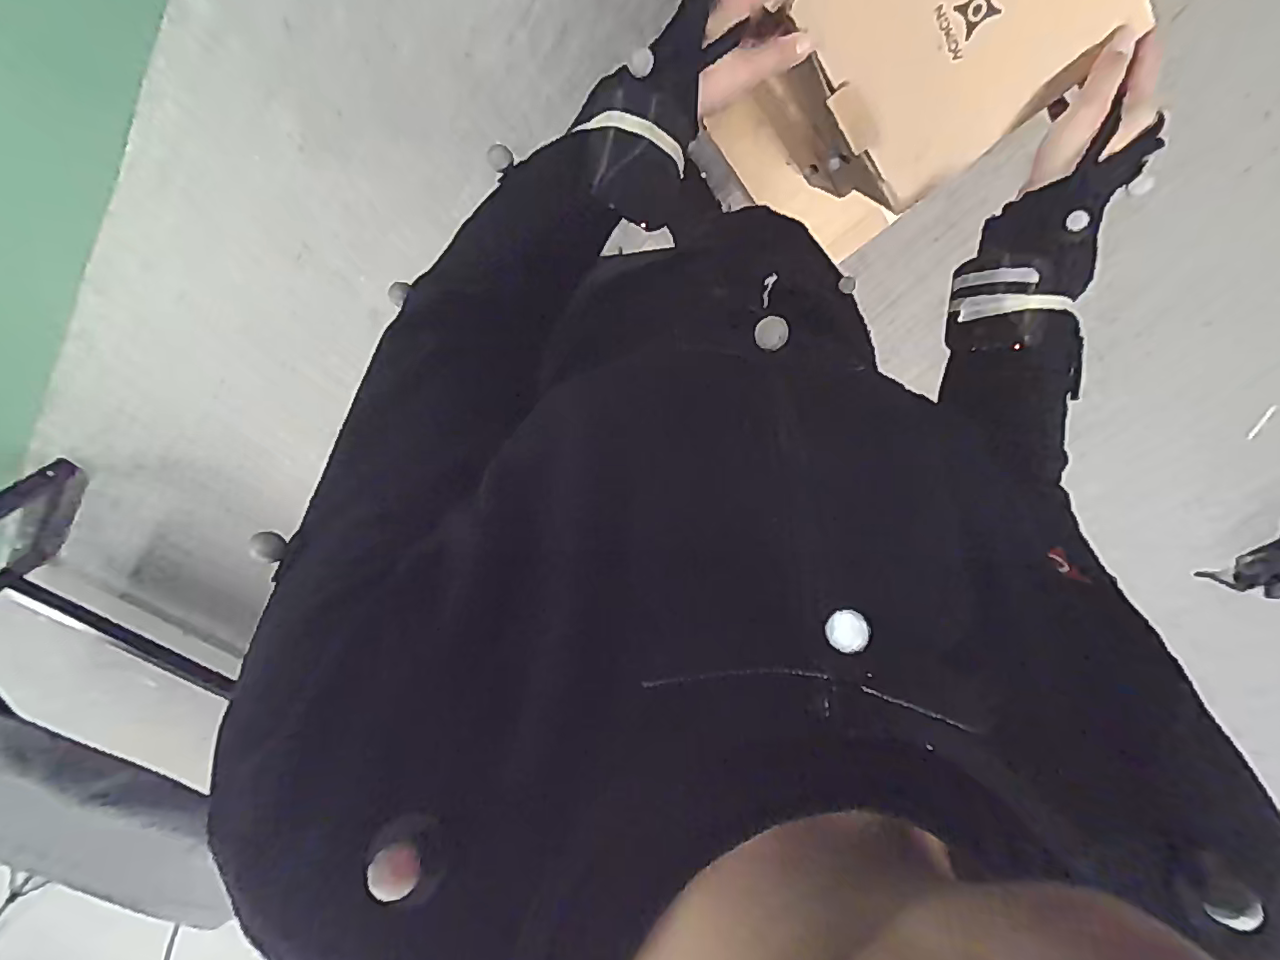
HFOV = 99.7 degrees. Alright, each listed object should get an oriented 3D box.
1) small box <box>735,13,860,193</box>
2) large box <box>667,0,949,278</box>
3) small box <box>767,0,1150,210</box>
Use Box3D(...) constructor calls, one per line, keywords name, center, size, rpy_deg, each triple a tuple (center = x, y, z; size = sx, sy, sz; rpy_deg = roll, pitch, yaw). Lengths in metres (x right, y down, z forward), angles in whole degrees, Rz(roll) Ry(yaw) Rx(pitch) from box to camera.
Box3D(name="small box", center=(0.217, -0.435, 0.562), size=(0.168, 0.176, 0.179), rpy_deg=(-37, 115, 24))
Box3D(name="large box", center=(0.286, -0.633, 0.915), size=(0.320, 0.320, 0.408), rpy_deg=(-34, 116, 24))
Box3D(name="small box", center=(0.213, -0.346, 0.410), size=(0.179, 0.176, 0.168), rpy_deg=(-34, 120, 24))
